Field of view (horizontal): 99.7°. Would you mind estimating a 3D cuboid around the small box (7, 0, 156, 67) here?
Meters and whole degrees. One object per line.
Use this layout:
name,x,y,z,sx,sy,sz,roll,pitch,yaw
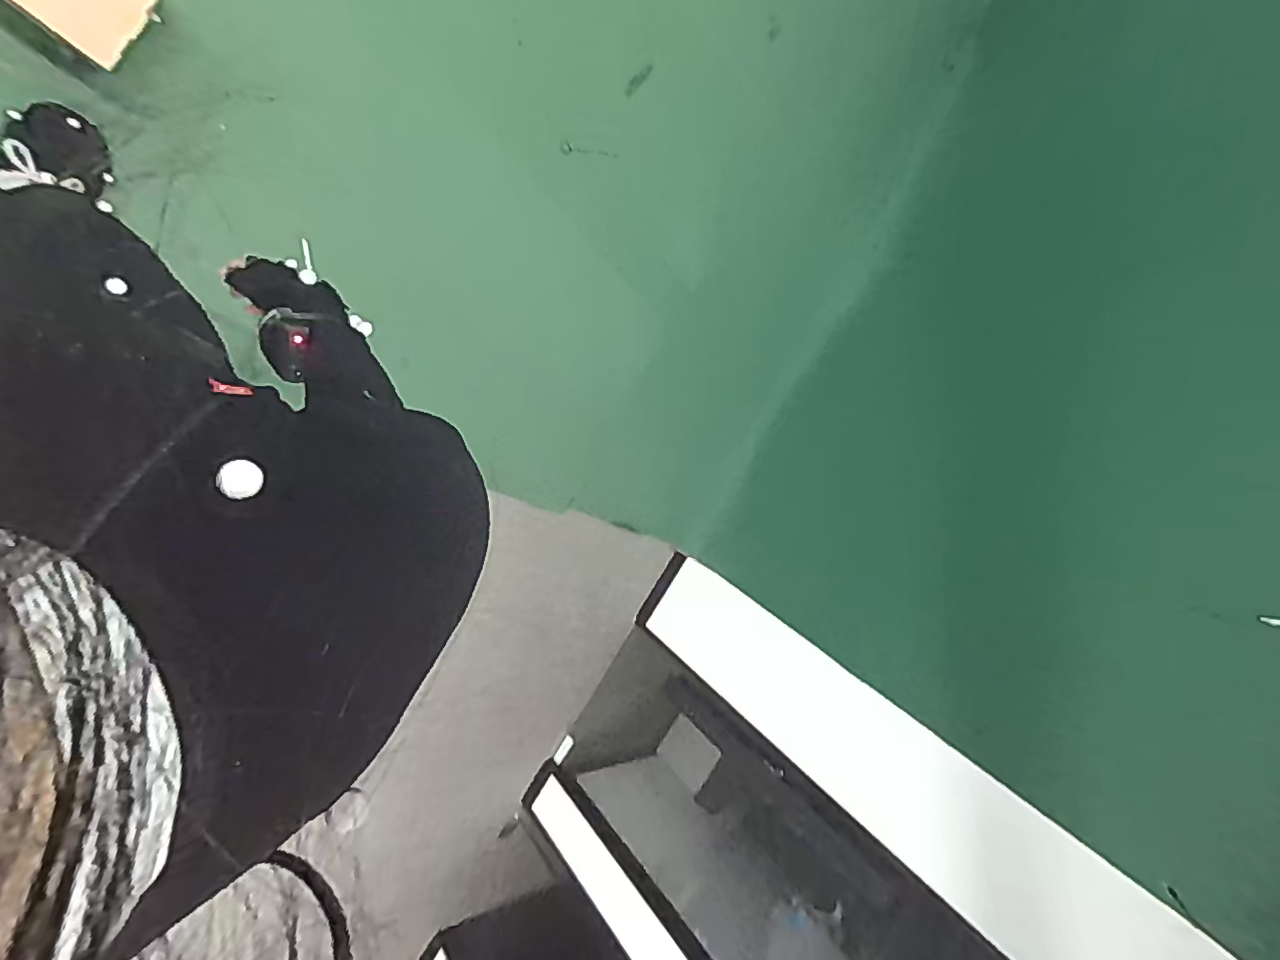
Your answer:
small box,-0.848,-0.751,0.787,0.168,0.176,0.179,-56,143,-1
